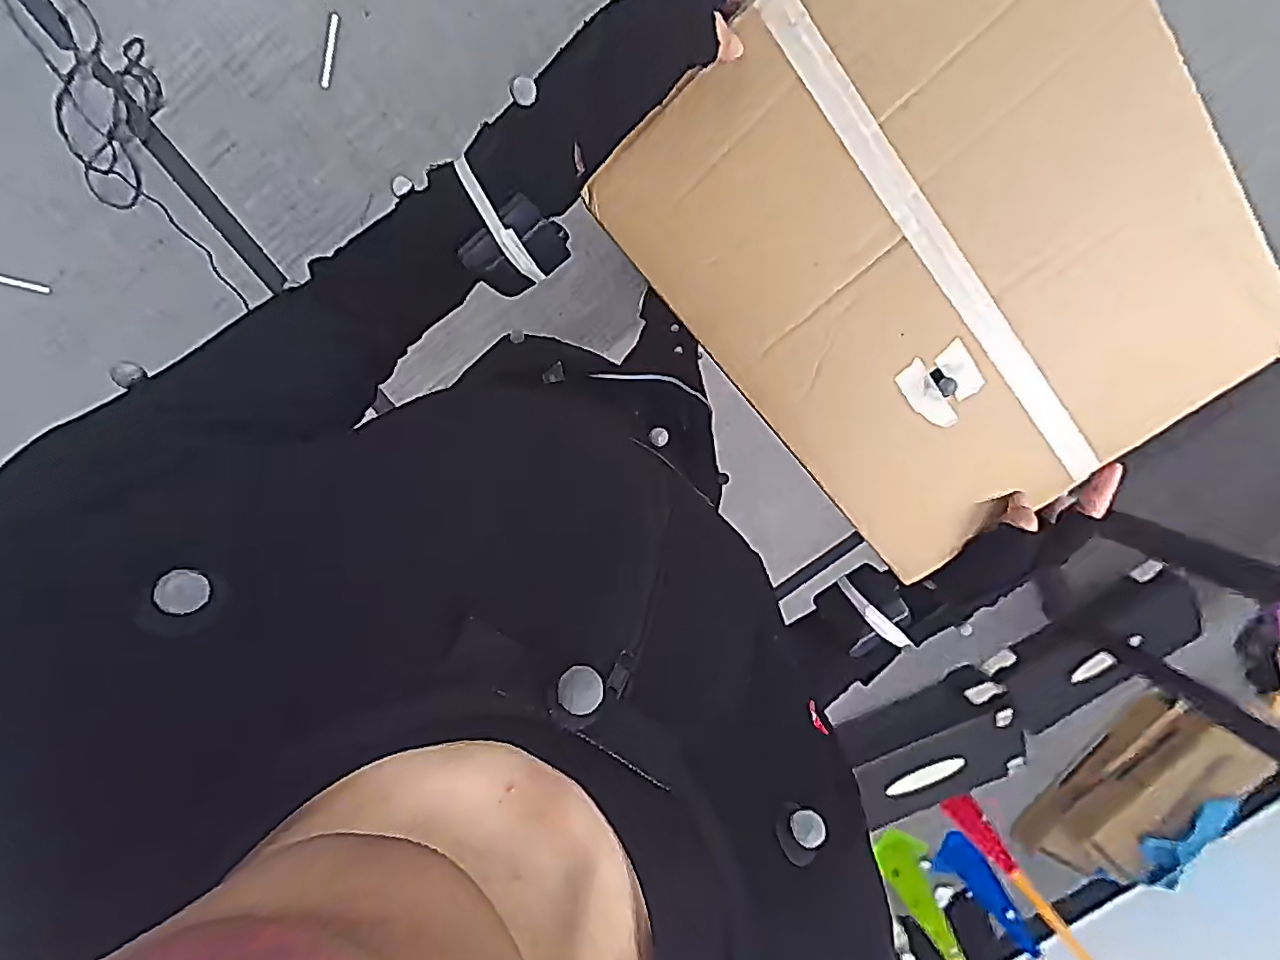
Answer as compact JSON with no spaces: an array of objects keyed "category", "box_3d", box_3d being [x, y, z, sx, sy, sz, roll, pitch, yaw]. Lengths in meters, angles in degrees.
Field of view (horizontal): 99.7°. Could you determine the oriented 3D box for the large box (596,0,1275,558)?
[{"category":"large box","box_3d":[0.216,-0.215,0.515,0.320,0.320,0.408,-38,107,19]}]
